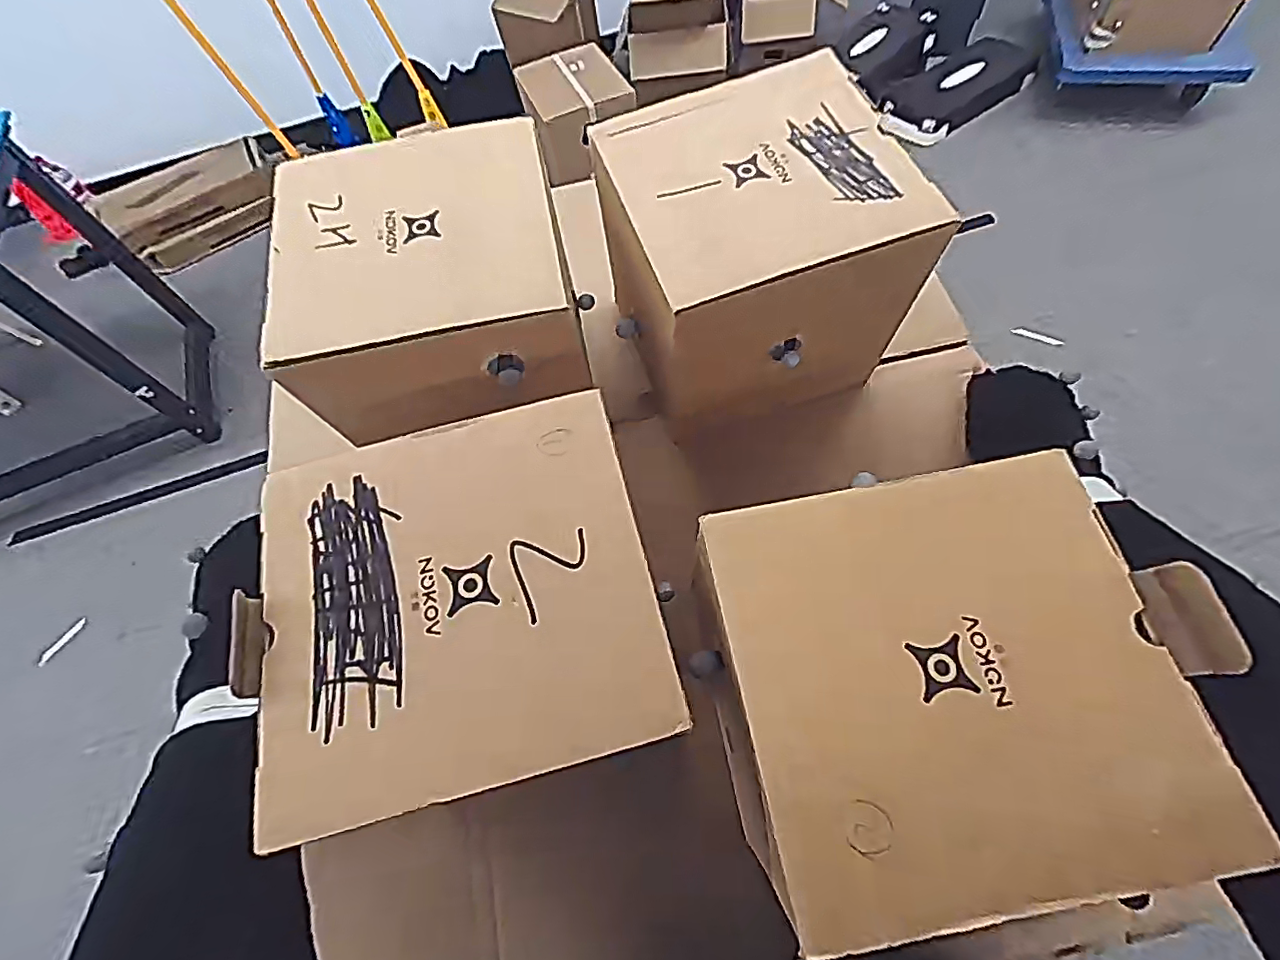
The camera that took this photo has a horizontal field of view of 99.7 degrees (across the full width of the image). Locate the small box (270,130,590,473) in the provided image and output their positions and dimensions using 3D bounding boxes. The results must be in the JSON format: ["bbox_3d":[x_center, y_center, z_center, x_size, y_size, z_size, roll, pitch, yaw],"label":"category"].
[{"bbox_3d":[-0.139,-0.122,0.417,0.179,0.176,0.168,-12,67,-1],"label":"small box"}]
